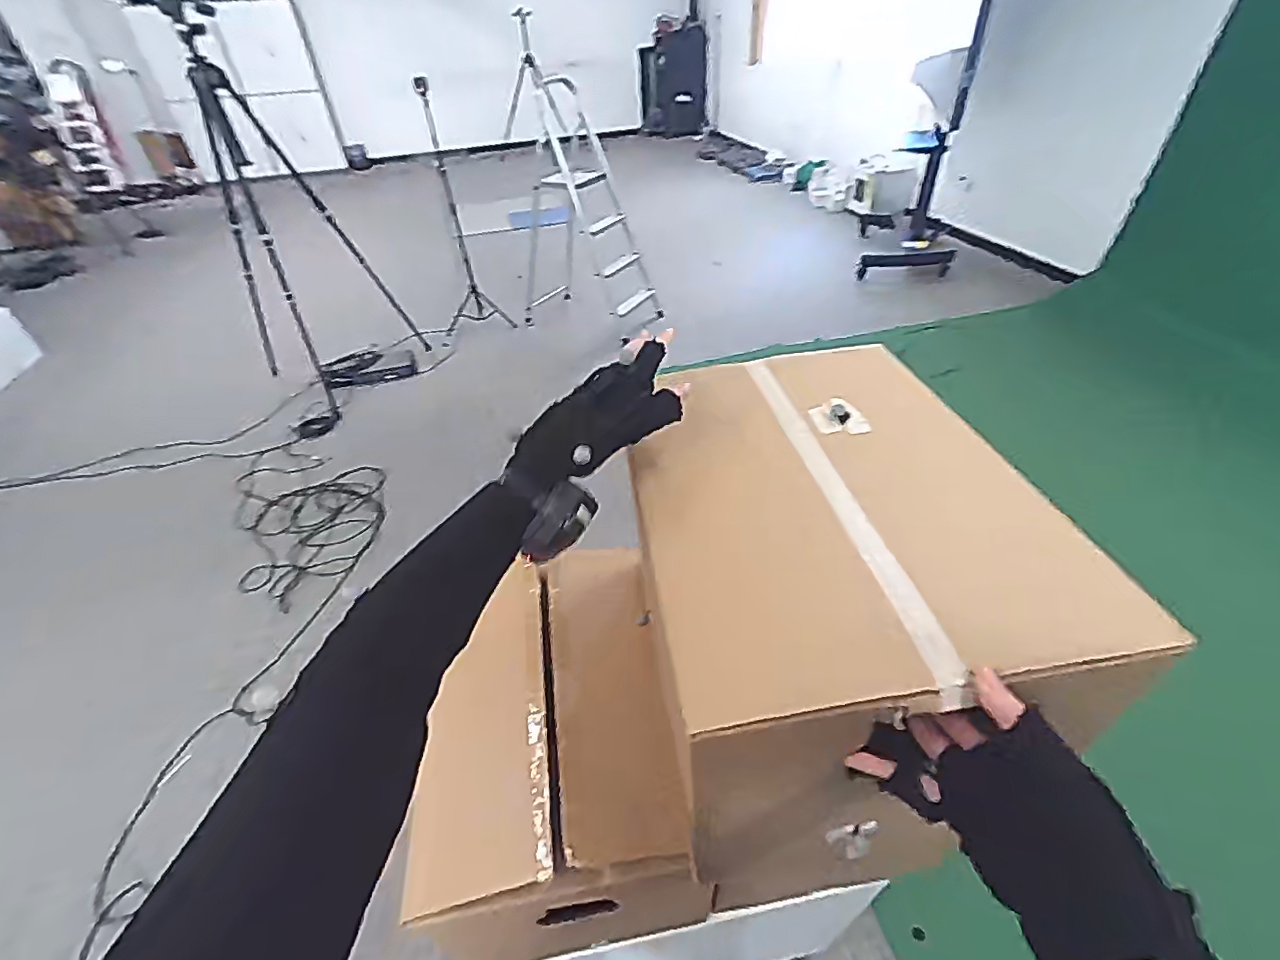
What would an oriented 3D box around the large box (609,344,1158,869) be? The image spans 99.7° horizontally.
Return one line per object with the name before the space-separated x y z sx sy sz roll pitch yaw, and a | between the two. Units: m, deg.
large box | 0.158 0.104 0.567 0.320 0.320 0.408 -9 40 -3
